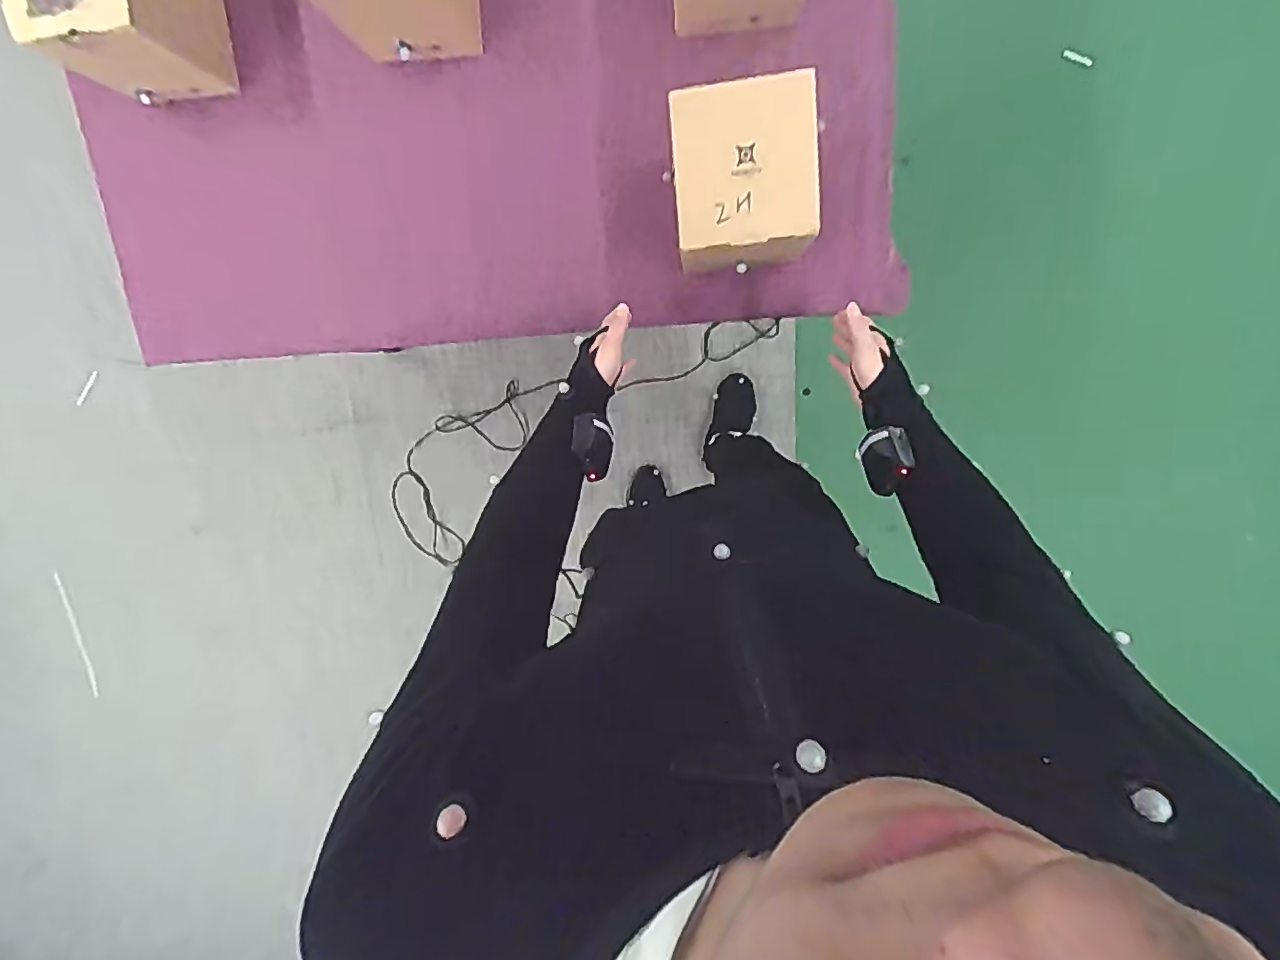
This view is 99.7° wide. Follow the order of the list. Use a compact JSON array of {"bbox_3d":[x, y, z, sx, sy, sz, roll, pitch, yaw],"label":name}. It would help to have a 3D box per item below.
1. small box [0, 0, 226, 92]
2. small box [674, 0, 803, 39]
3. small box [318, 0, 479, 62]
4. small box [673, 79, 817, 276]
[{"bbox_3d":[-0.690,-0.638,0.706,0.168,0.176,0.179,-2,103,4],"label":"small box"},{"bbox_3d":[0.120,-0.677,0.643,0.168,0.176,0.179,-2,103,5],"label":"small box"},{"bbox_3d":[-0.315,-0.669,0.677,0.168,0.176,0.179,0,104,5],"label":"small box"},{"bbox_3d":[0.129,-0.378,0.708,0.168,0.176,0.179,-4,102,6],"label":"small box"}]
